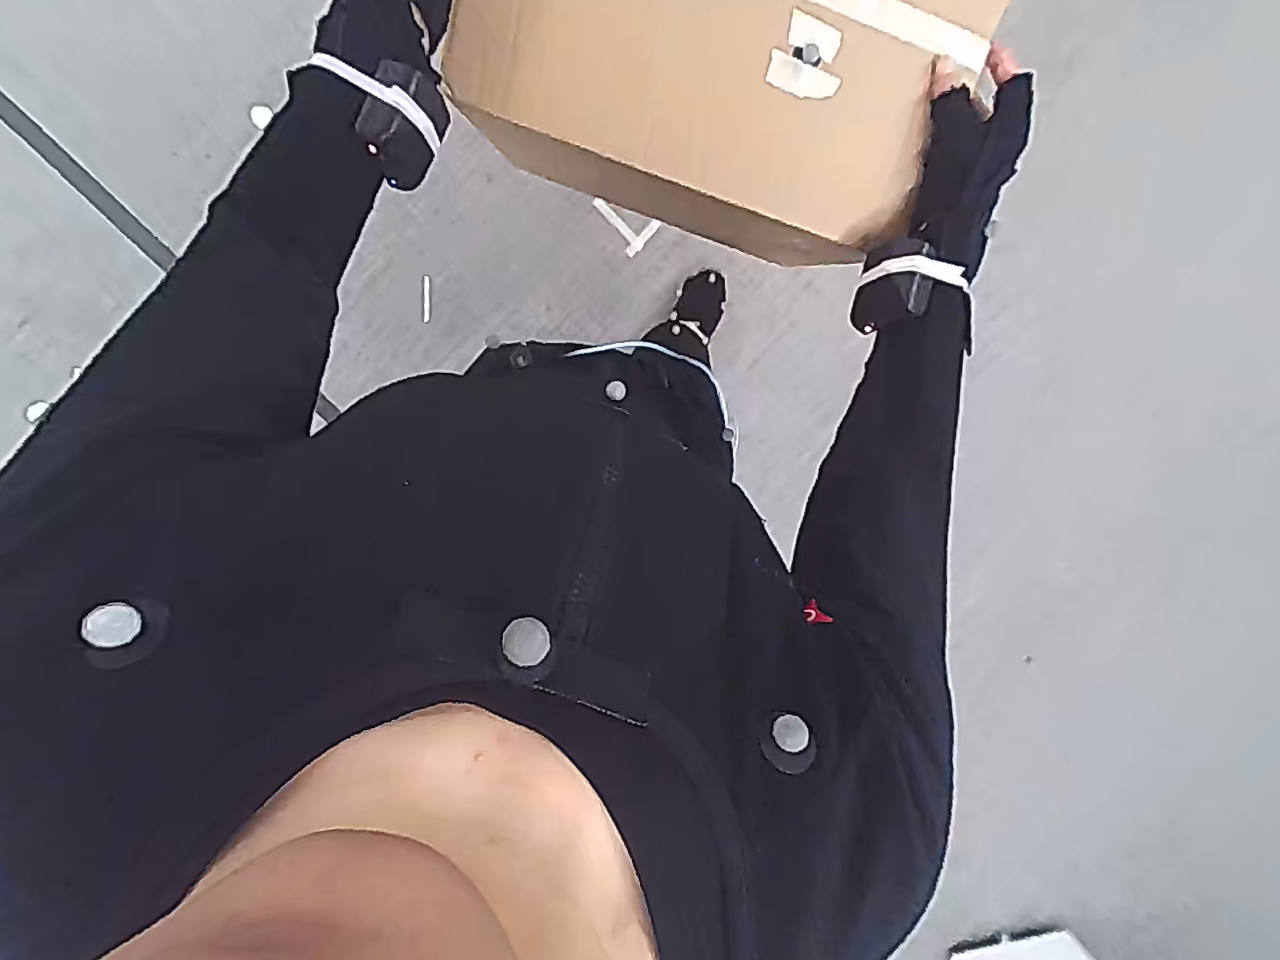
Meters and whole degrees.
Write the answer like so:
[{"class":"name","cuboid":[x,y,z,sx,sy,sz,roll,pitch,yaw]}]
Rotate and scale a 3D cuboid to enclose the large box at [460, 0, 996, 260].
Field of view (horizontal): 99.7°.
[{"class":"large box","cuboid":[0.074,-0.449,0.560,0.408,0.320,0.320,16,110,-9]}]
